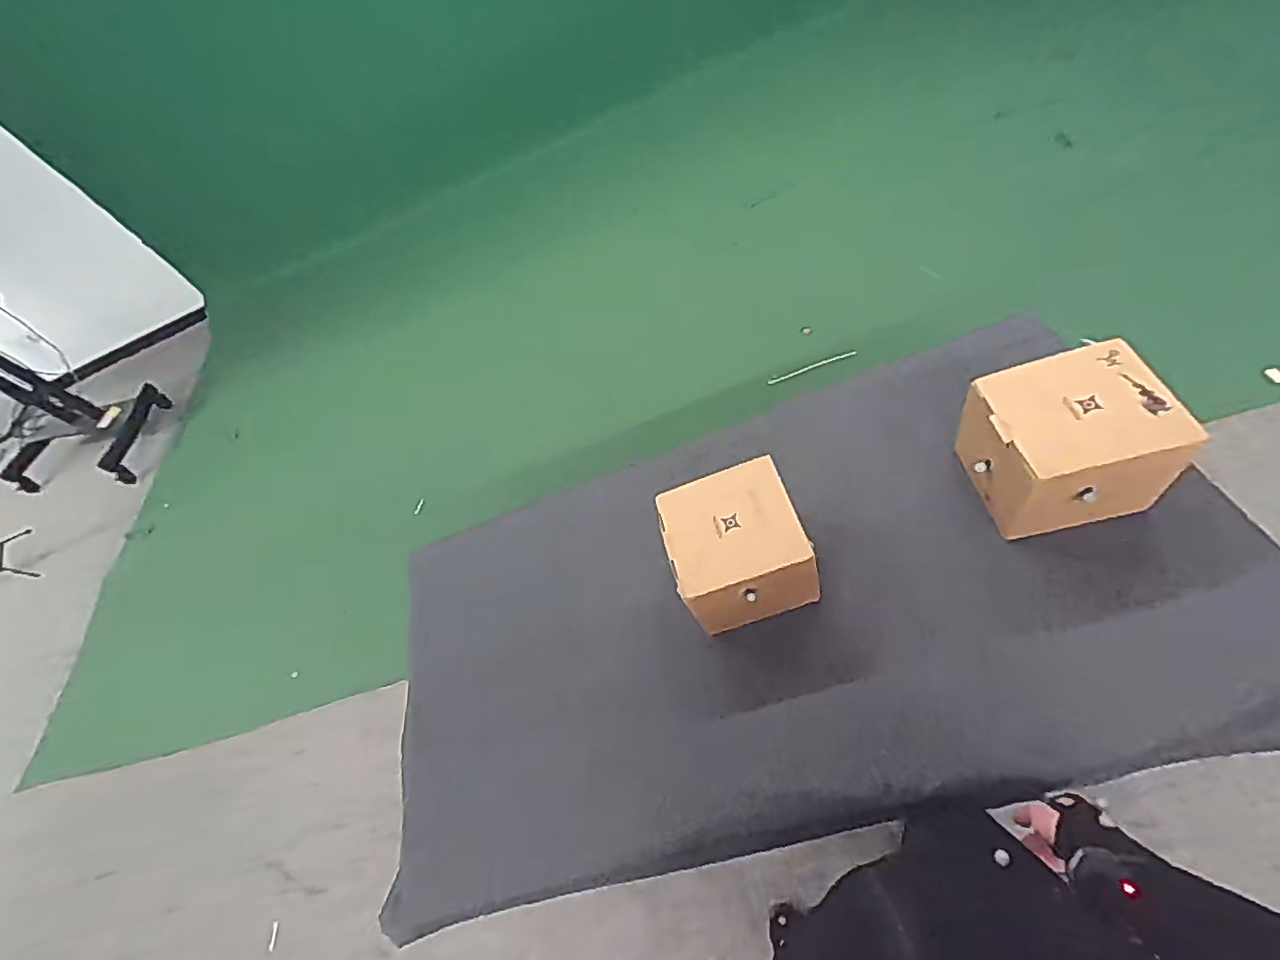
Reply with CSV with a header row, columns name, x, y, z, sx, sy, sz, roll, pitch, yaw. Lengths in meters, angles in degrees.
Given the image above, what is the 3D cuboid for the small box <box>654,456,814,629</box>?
name,x,y,z,sx,sy,sz,roll,pitch,yaw
small box,0.140,0.099,0.787,0.179,0.176,0.168,-20,56,7

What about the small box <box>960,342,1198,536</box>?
name,x,y,z,sx,sy,sz,roll,pitch,yaw
small box,0.546,-0.043,0.712,0.179,0.176,0.168,-16,56,13
